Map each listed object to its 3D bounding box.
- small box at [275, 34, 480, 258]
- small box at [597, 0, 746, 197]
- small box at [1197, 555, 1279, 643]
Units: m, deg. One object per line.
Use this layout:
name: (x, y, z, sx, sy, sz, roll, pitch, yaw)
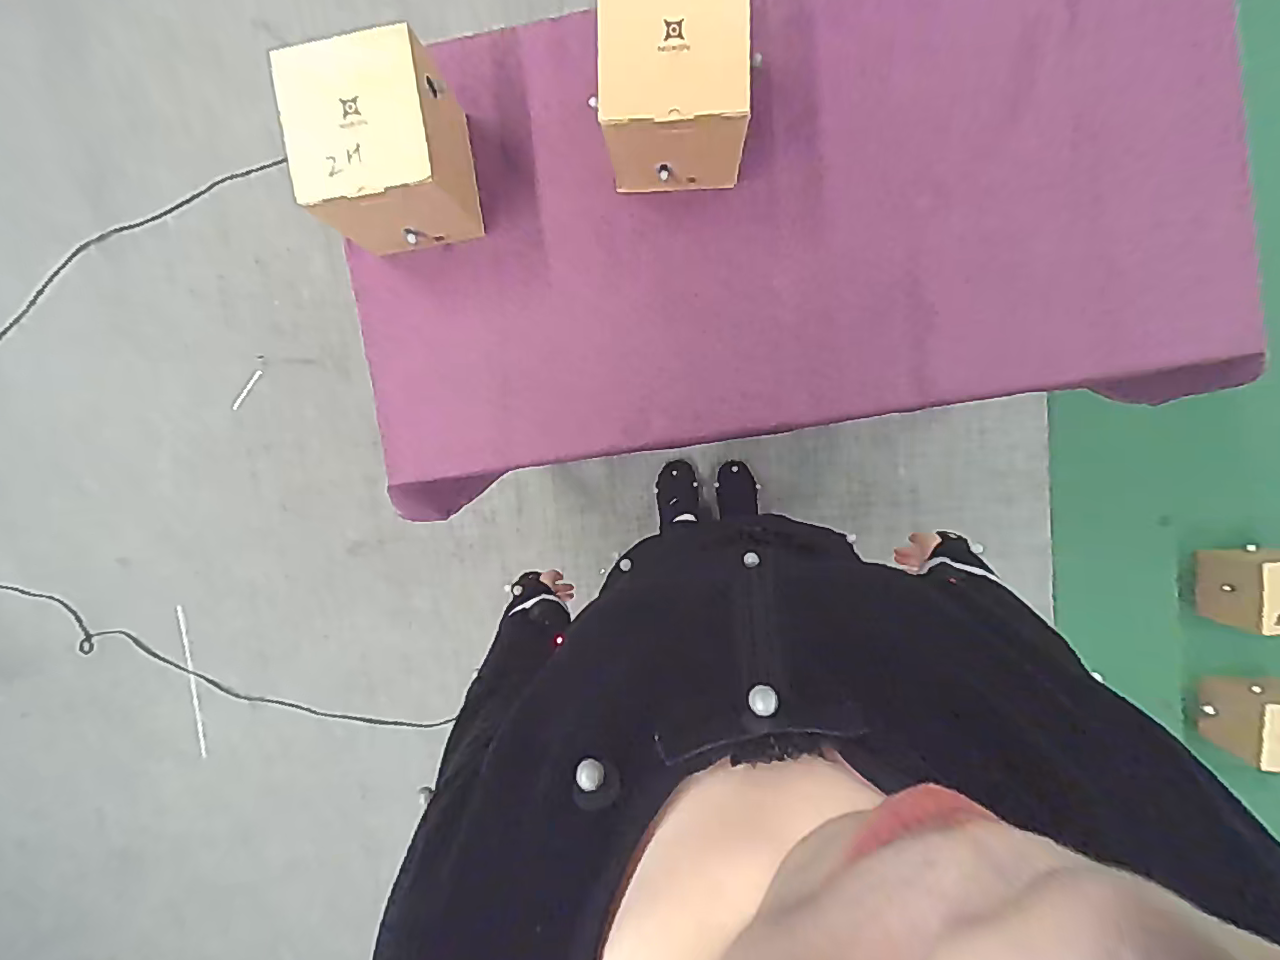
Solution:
small box: (-0.323, -0.412, 0.696, 0.168, 0.176, 0.179, -8, 93, 5)
small box: (0.038, -0.479, 0.669, 0.168, 0.176, 0.179, 0, 94, 5)
small box: (1.529, 0.288, 1.326, 0.168, 0.176, 0.179, -3, 92, 4)
